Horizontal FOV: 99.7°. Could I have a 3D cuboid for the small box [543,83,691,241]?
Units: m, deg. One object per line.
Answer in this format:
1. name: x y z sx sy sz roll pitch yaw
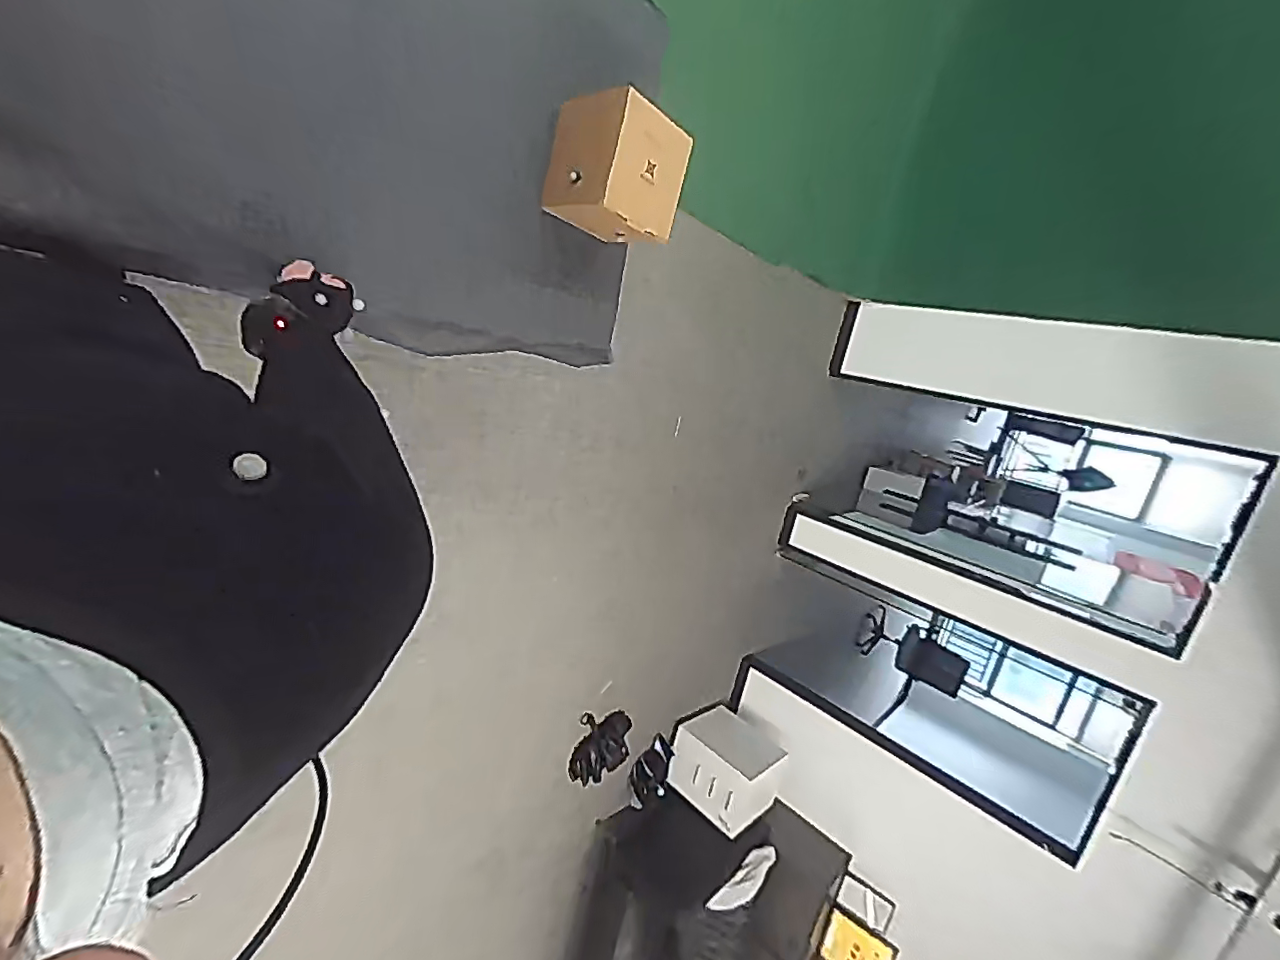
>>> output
1. small box: -0.044 -0.525 0.922 0.168 0.176 0.179 1 105 -50
